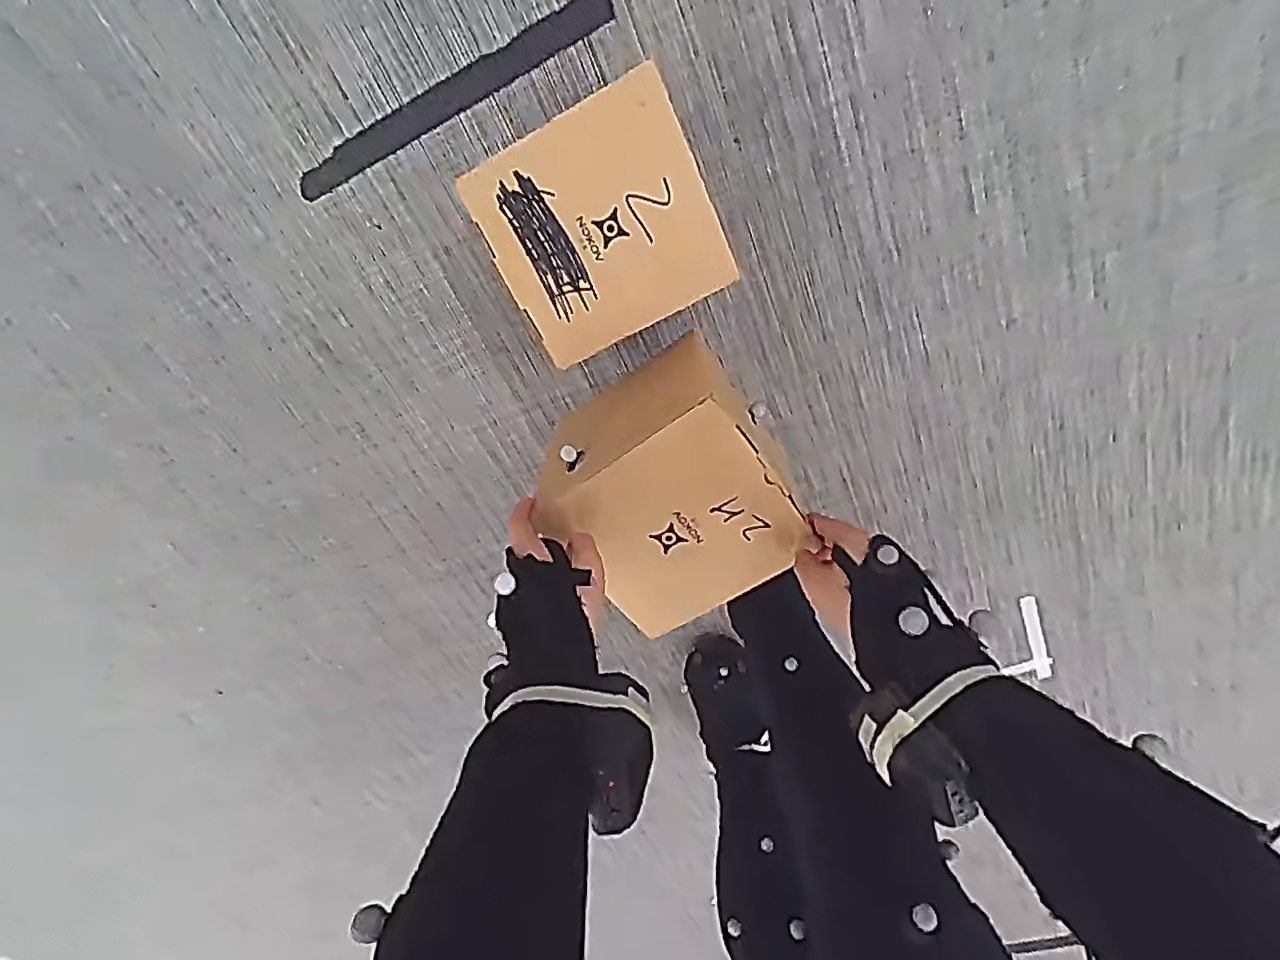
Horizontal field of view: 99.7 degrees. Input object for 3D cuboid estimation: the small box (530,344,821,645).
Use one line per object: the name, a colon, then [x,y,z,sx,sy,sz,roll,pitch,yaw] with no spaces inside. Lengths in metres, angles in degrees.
small box: [0.030,0.008,0.491,0.179,0.176,0.168,-33,116,18]
